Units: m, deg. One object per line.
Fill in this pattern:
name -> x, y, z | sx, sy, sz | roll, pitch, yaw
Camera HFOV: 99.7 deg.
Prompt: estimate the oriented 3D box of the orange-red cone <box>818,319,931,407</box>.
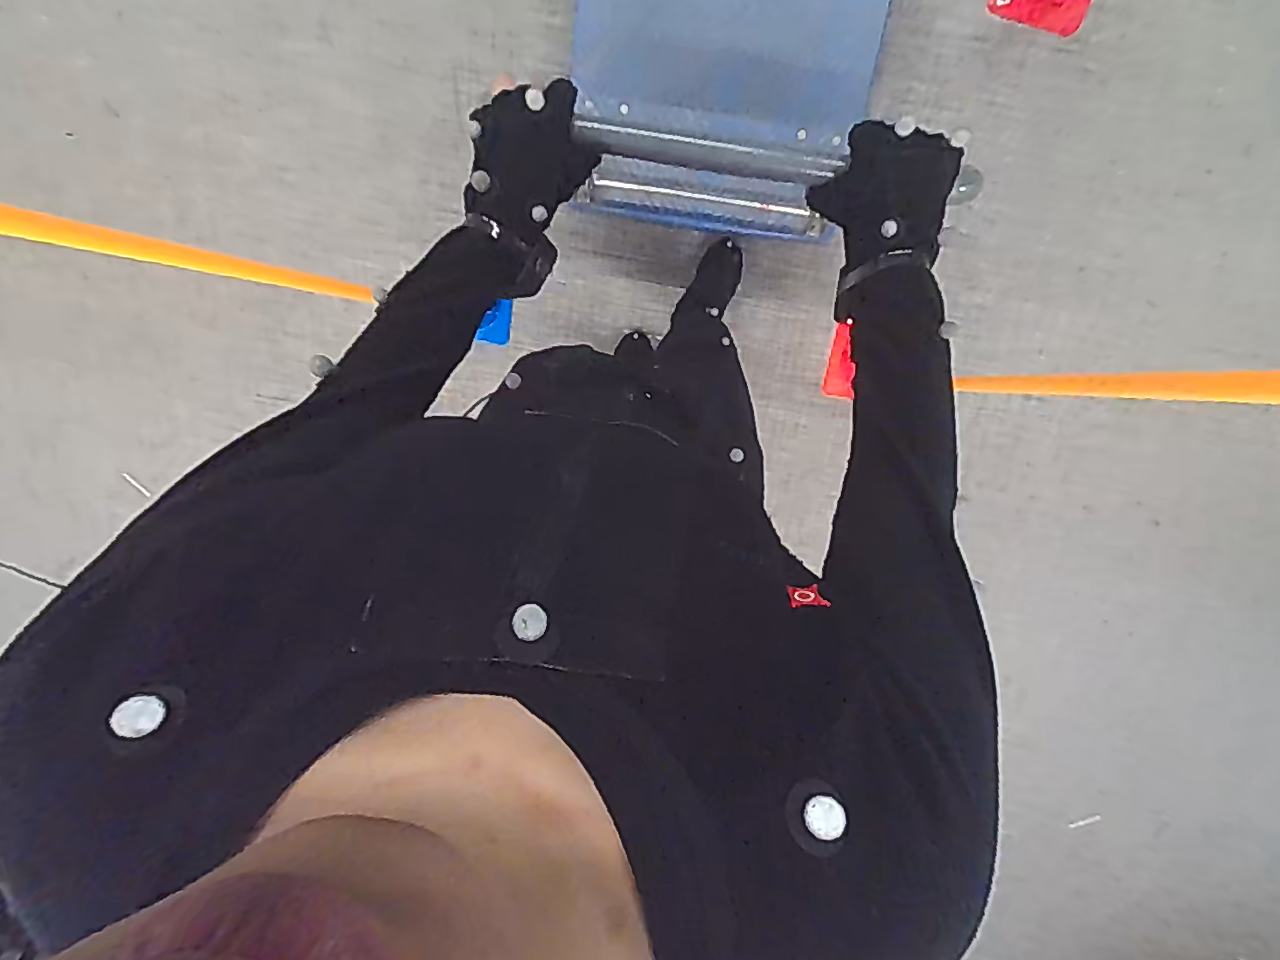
orange-red cone -> 0.555, -0.243, 1.209 | 0.199, 0.360, 0.198 | 10, 108, 1
